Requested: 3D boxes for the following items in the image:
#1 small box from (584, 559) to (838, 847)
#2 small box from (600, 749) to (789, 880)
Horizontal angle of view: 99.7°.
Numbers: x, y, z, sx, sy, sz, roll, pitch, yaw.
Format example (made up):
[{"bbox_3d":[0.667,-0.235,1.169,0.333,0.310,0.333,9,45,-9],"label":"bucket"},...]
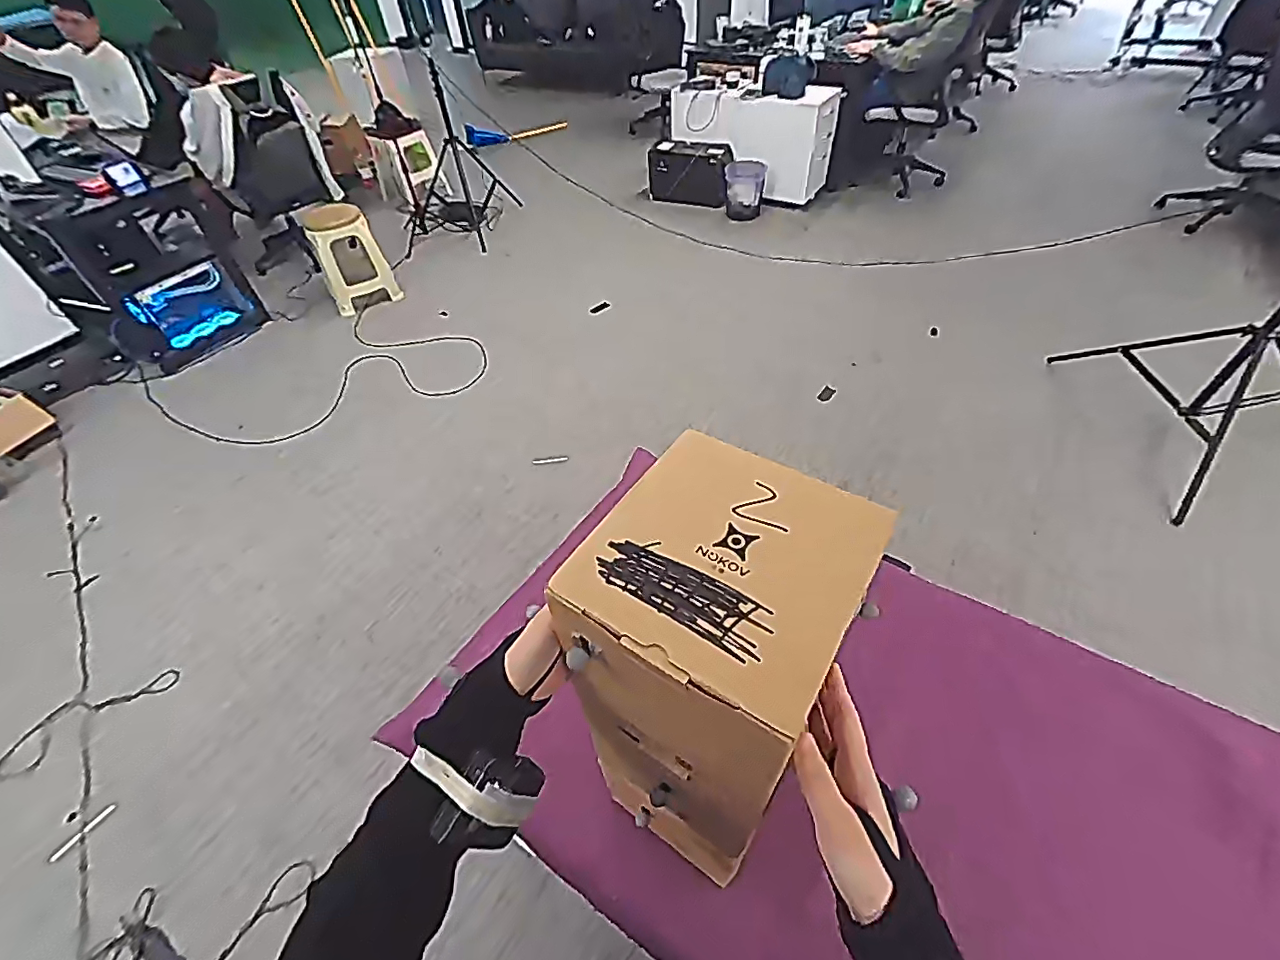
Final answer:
[{"bbox_3d":[0.070,0.218,0.529,0.168,0.176,0.179,24,53,23],"label":"small box"},{"bbox_3d":[0.075,0.333,0.645,0.168,0.176,0.179,26,53,25],"label":"small box"}]
